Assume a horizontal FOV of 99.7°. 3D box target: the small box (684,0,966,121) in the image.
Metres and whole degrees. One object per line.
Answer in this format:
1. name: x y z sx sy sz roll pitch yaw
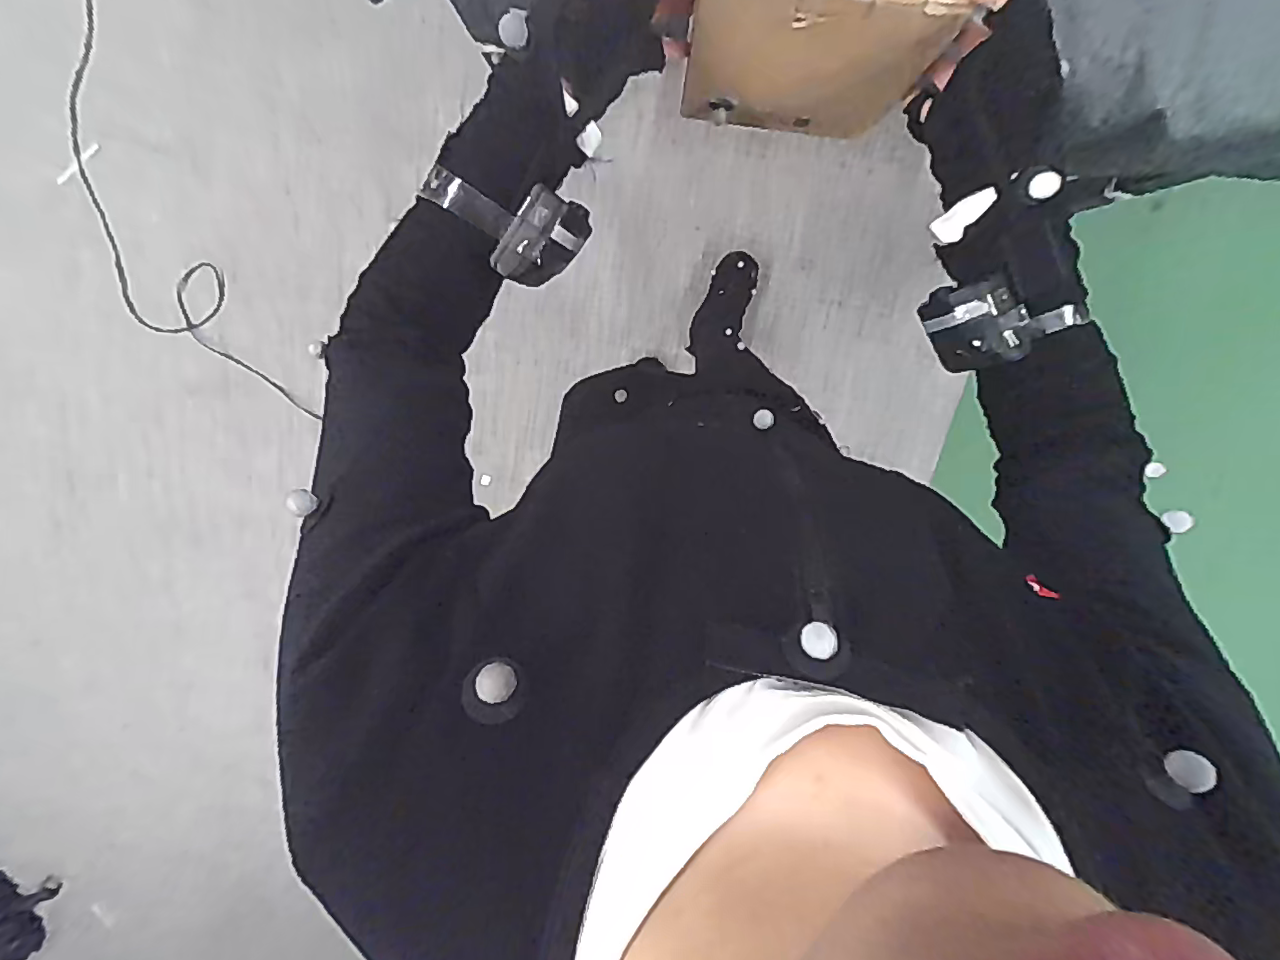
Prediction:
1. small box: 0.126 -0.389 0.379 0.168 0.176 0.179 6 99 -2
